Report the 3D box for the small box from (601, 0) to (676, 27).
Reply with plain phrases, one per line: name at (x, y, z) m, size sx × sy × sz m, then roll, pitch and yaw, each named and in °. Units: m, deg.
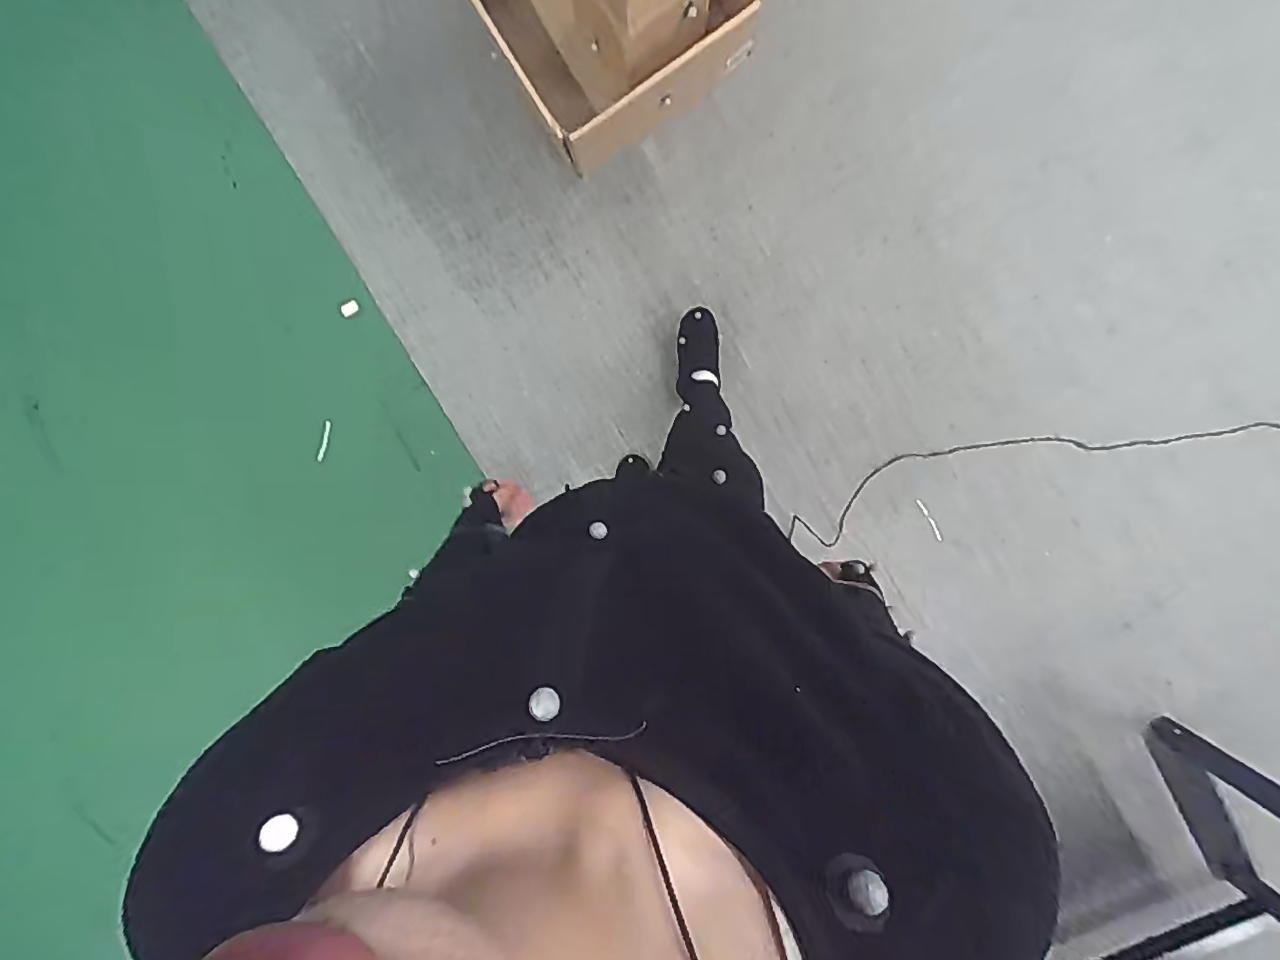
small box at (-0.001, -0.785, 0.745) m, size 0.168 × 0.176 × 0.179 m, roll -34°, pitch 96°, yaw 6°
